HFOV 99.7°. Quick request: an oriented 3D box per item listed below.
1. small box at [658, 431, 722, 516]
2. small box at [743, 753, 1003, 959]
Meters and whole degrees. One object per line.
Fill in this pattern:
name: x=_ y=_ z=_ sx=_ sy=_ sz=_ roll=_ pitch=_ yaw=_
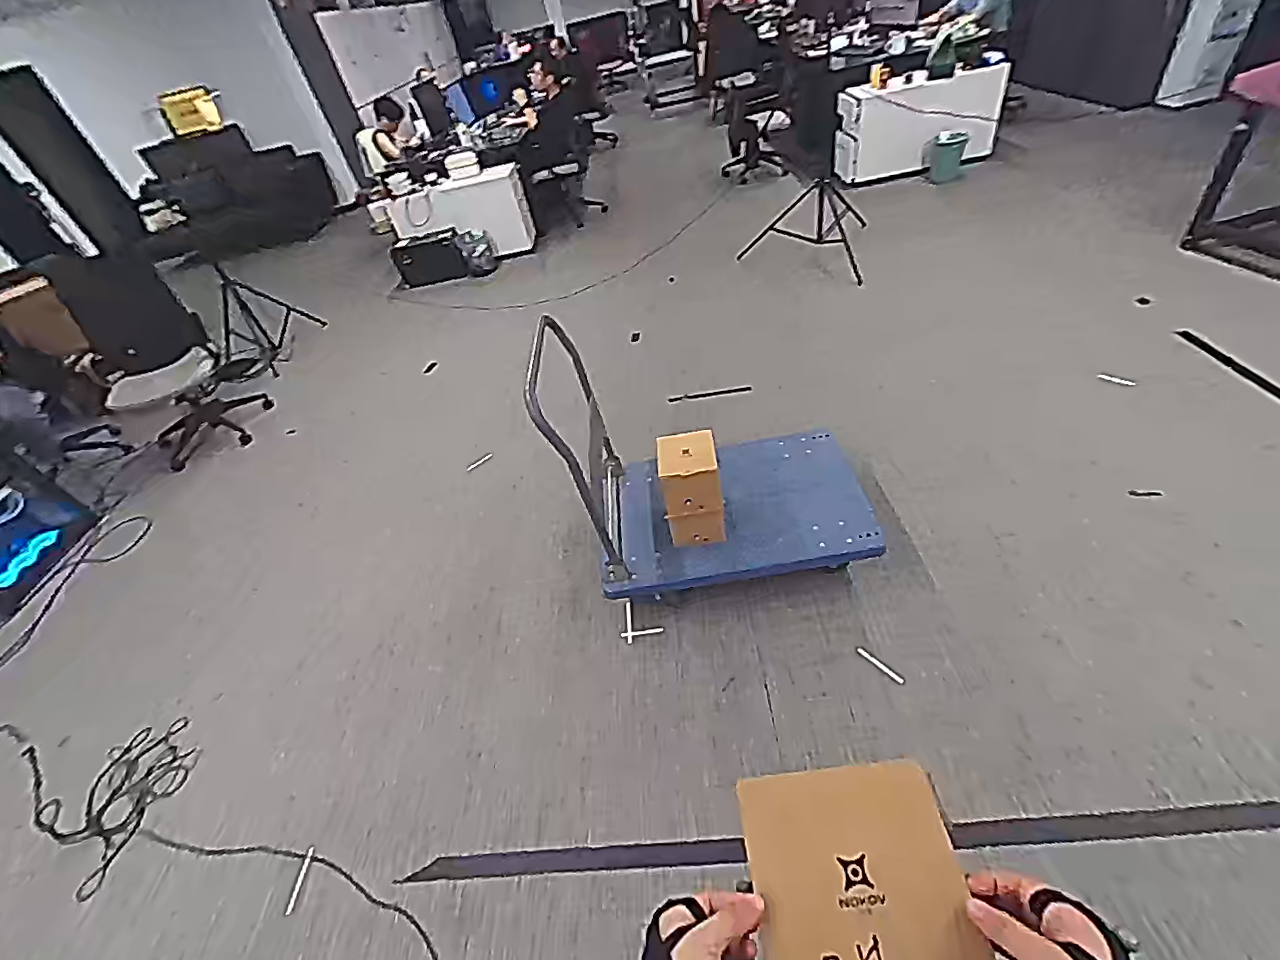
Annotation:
small box: x=0.148 y=-0.018 z=1.594 sx=0.168 sy=0.176 sz=0.179 roll=-8 pitch=44 yaw=6
small box: x=0.190 y=0.371 z=0.485 sx=0.168 sy=0.176 sz=0.179 roll=-10 pitch=46 yaw=5
